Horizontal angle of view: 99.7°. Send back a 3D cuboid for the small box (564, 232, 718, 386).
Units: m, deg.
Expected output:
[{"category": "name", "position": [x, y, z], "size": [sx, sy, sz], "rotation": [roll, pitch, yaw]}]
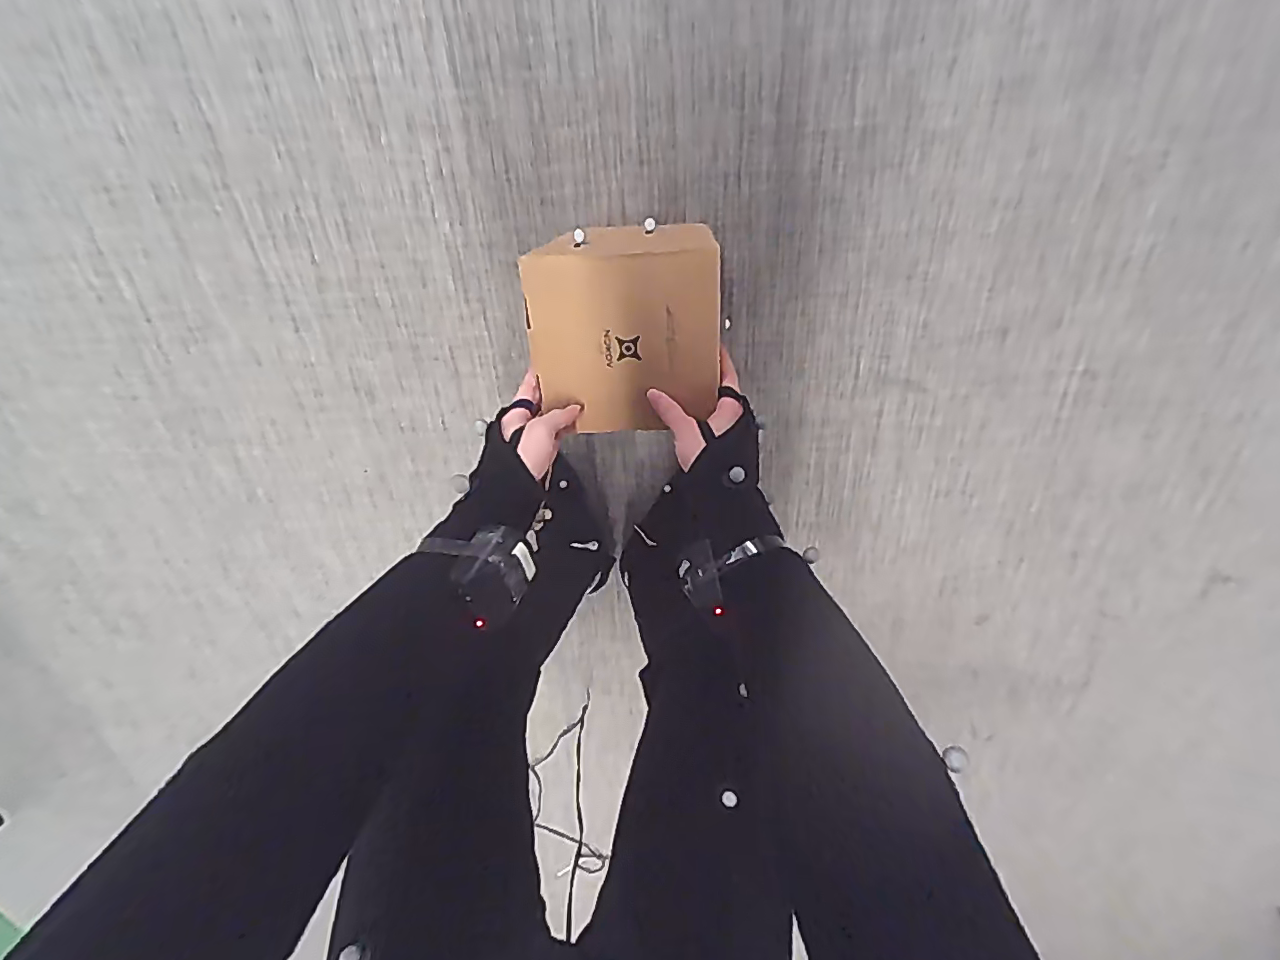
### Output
[{"category": "small box", "position": [0.006, -0.229, 0.710], "size": [0.179, 0.176, 0.168], "rotation": [0, 118, 4]}]
